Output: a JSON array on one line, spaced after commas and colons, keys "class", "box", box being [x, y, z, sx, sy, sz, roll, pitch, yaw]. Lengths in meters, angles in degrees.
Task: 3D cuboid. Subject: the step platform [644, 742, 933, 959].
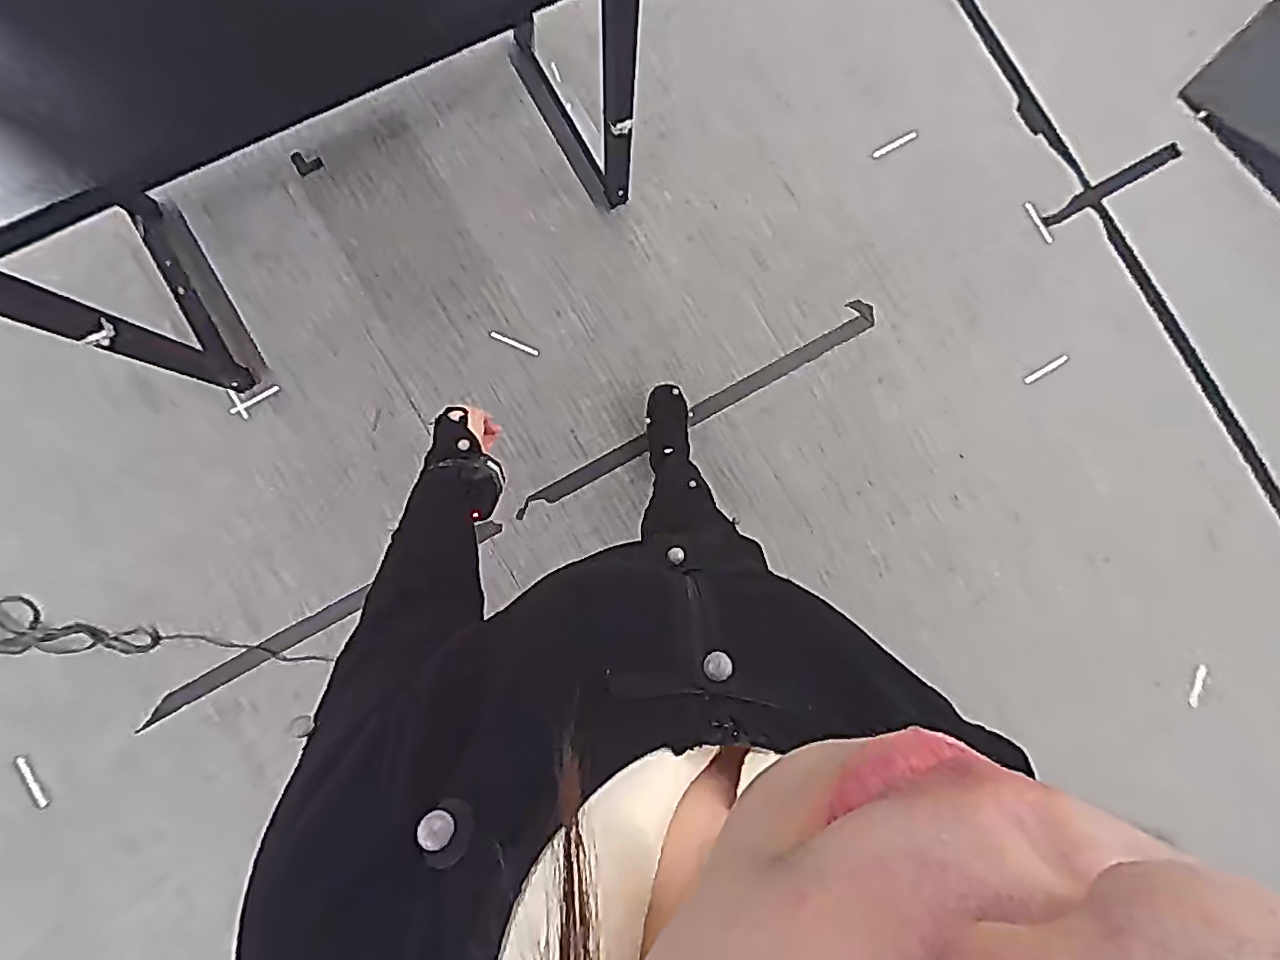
[{"class": "step platform", "box": [0.360, 0.949, 1.349, 0.684, 0.204, 0.286, -24, 88, -6]}]
